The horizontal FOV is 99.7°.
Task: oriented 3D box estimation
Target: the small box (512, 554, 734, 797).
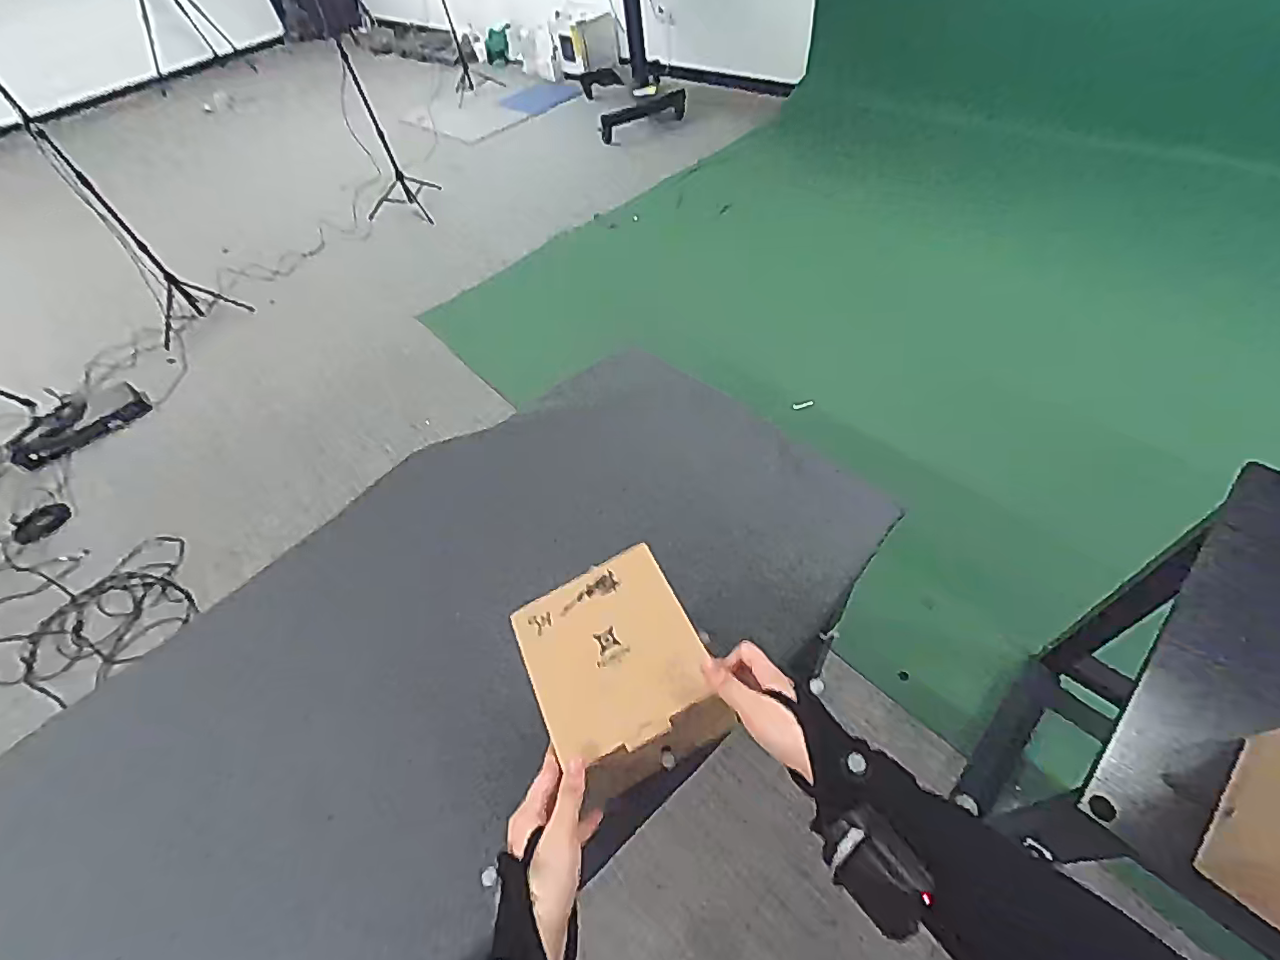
[{"bbox_3d":[-0.011,0.217,0.586,0.168,0.176,0.179,-27,54,-4],"label":"small box"}]
